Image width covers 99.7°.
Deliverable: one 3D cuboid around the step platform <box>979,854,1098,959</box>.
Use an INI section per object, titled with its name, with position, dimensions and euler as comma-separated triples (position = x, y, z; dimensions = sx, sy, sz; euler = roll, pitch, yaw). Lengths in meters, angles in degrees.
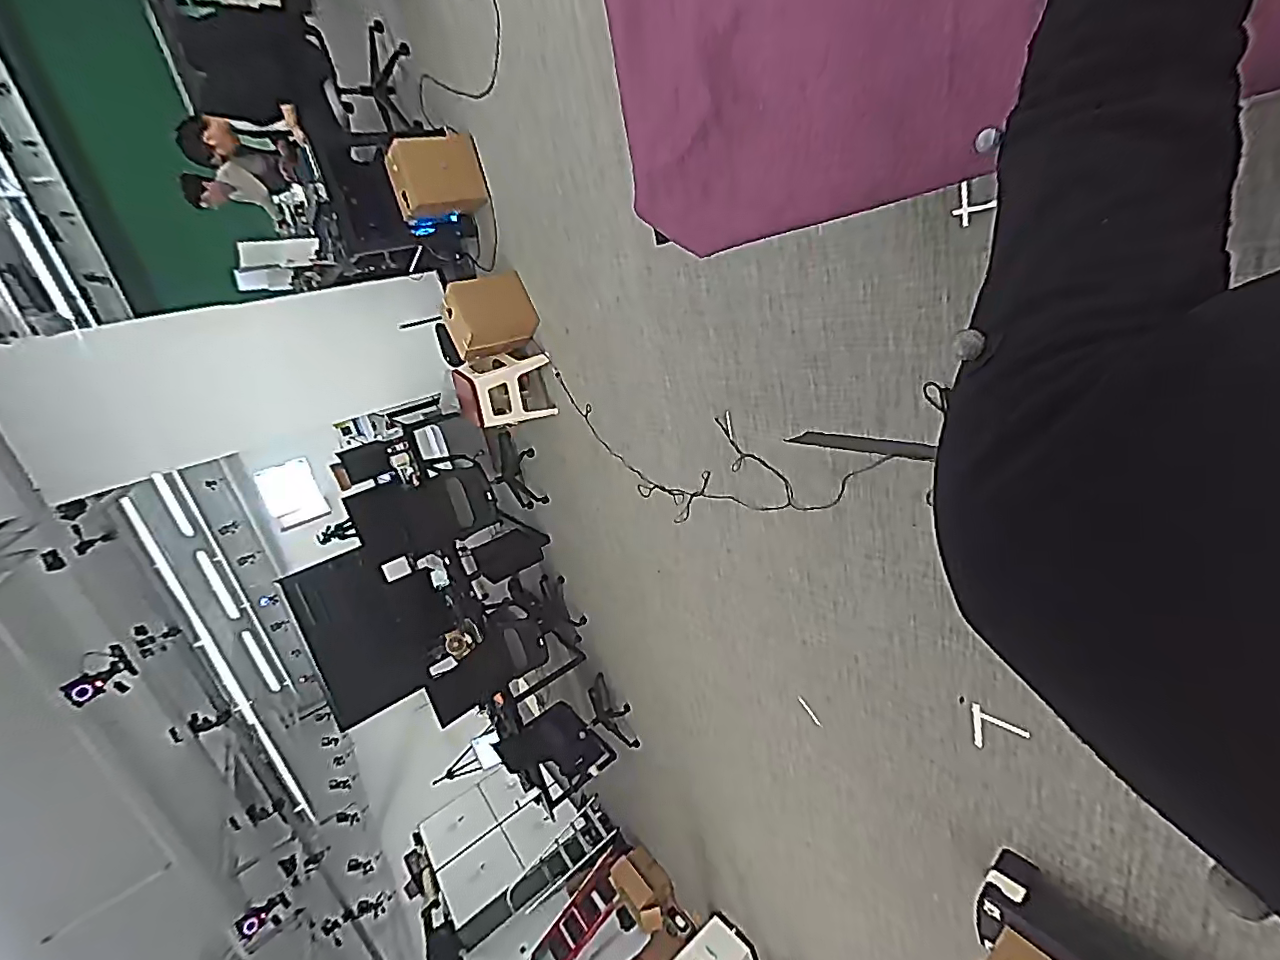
[step platform]
position = 1.374, 1.457, 1.555
dimensions = 0.684, 0.204, 0.286
euler = 14, 124, 53
